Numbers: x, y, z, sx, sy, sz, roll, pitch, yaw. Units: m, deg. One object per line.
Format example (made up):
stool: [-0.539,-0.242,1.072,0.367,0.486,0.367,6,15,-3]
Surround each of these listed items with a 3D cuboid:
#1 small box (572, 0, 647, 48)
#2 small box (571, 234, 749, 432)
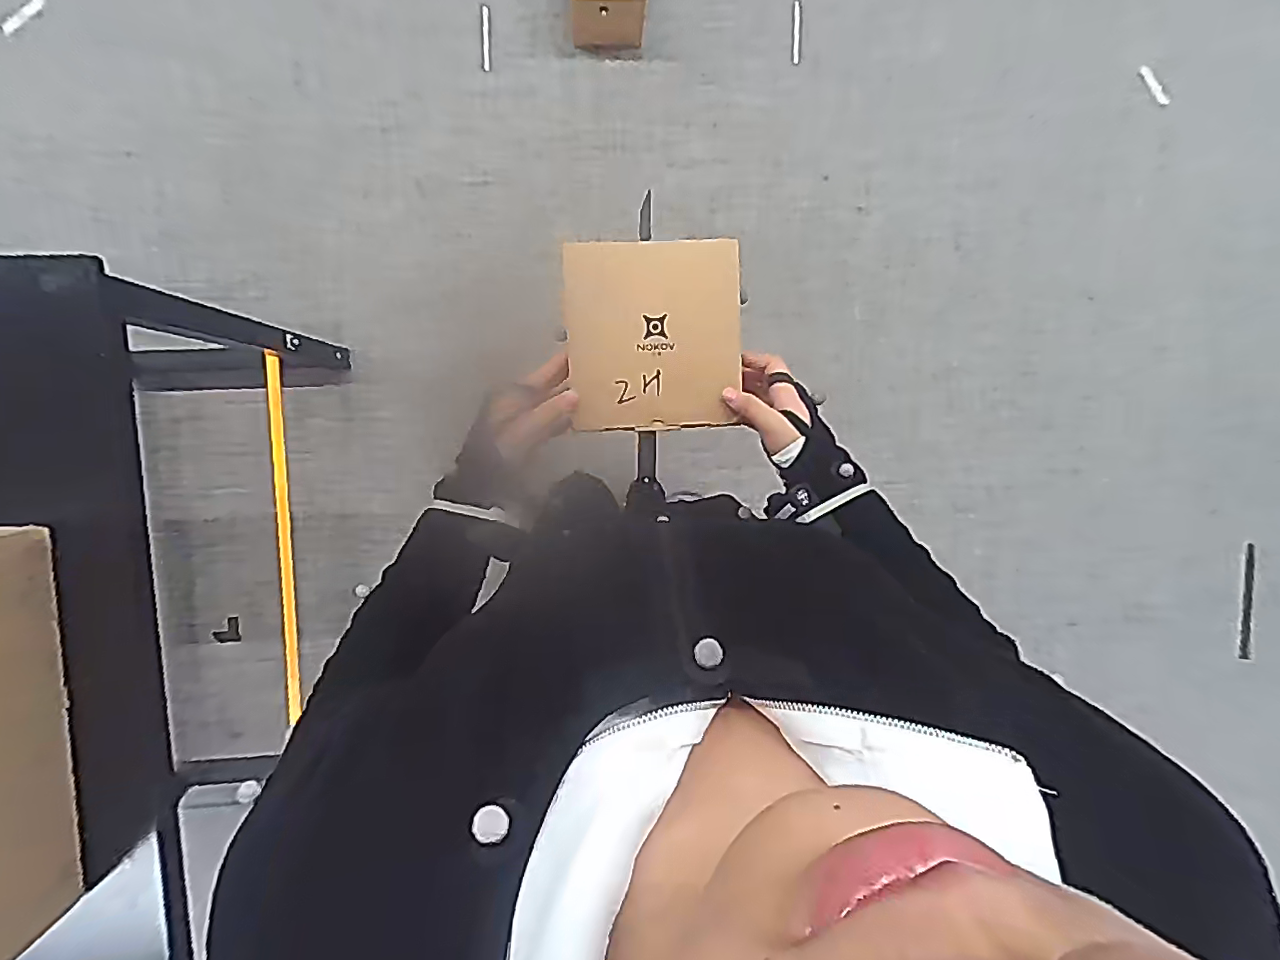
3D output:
small box: [-0.076,-1.173,1.290,0.179,0.176,0.168,-4,96,-4]
small box: [0.016,-0.143,0.581,0.168,0.176,0.179,-3,95,-2]
